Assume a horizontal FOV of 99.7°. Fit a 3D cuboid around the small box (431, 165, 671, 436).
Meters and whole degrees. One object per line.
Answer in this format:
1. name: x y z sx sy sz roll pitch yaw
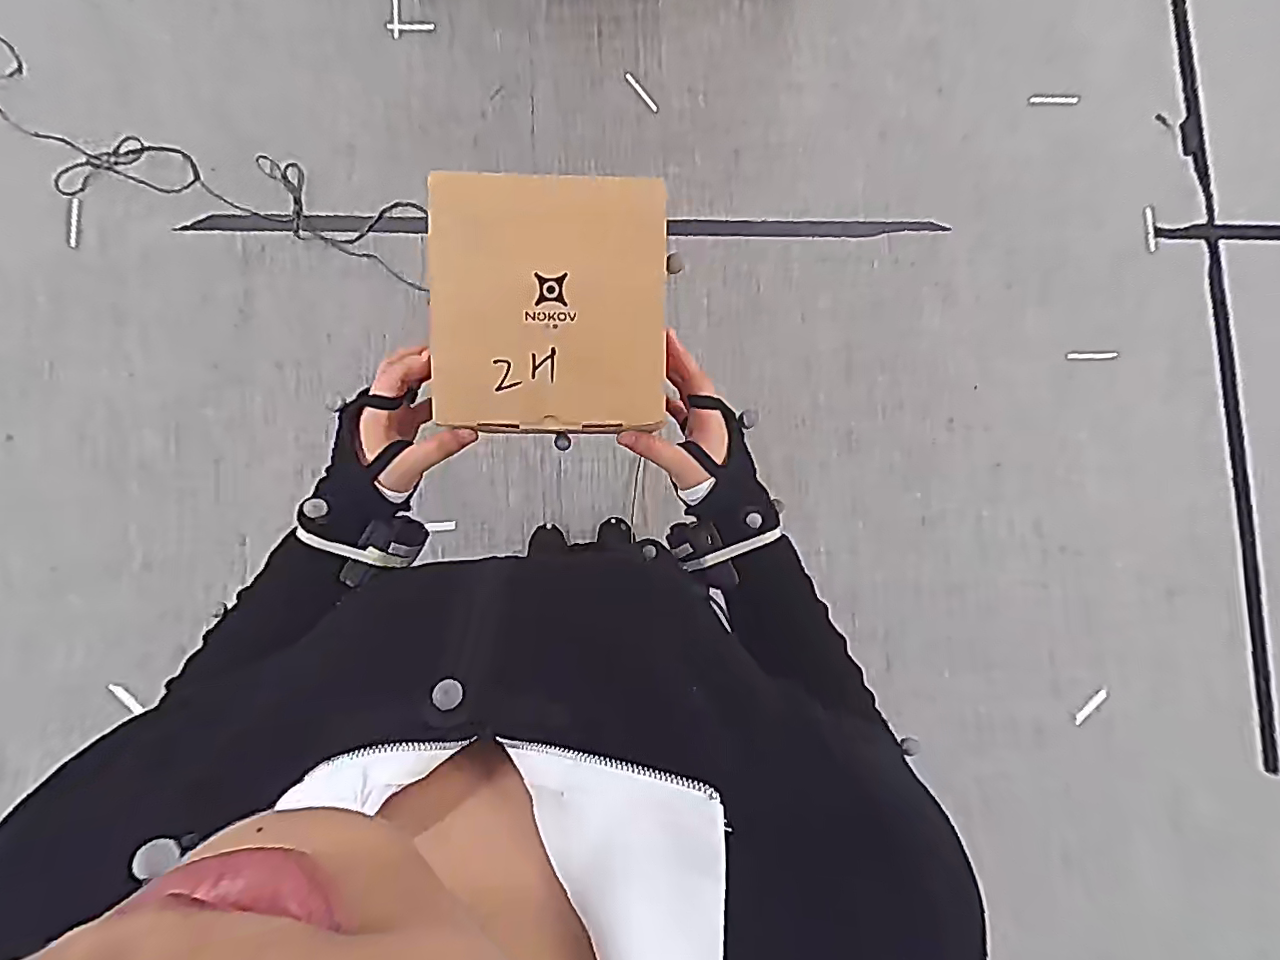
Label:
1. small box: -0.066 -0.129 0.454 0.168 0.176 0.179 0 93 -3
